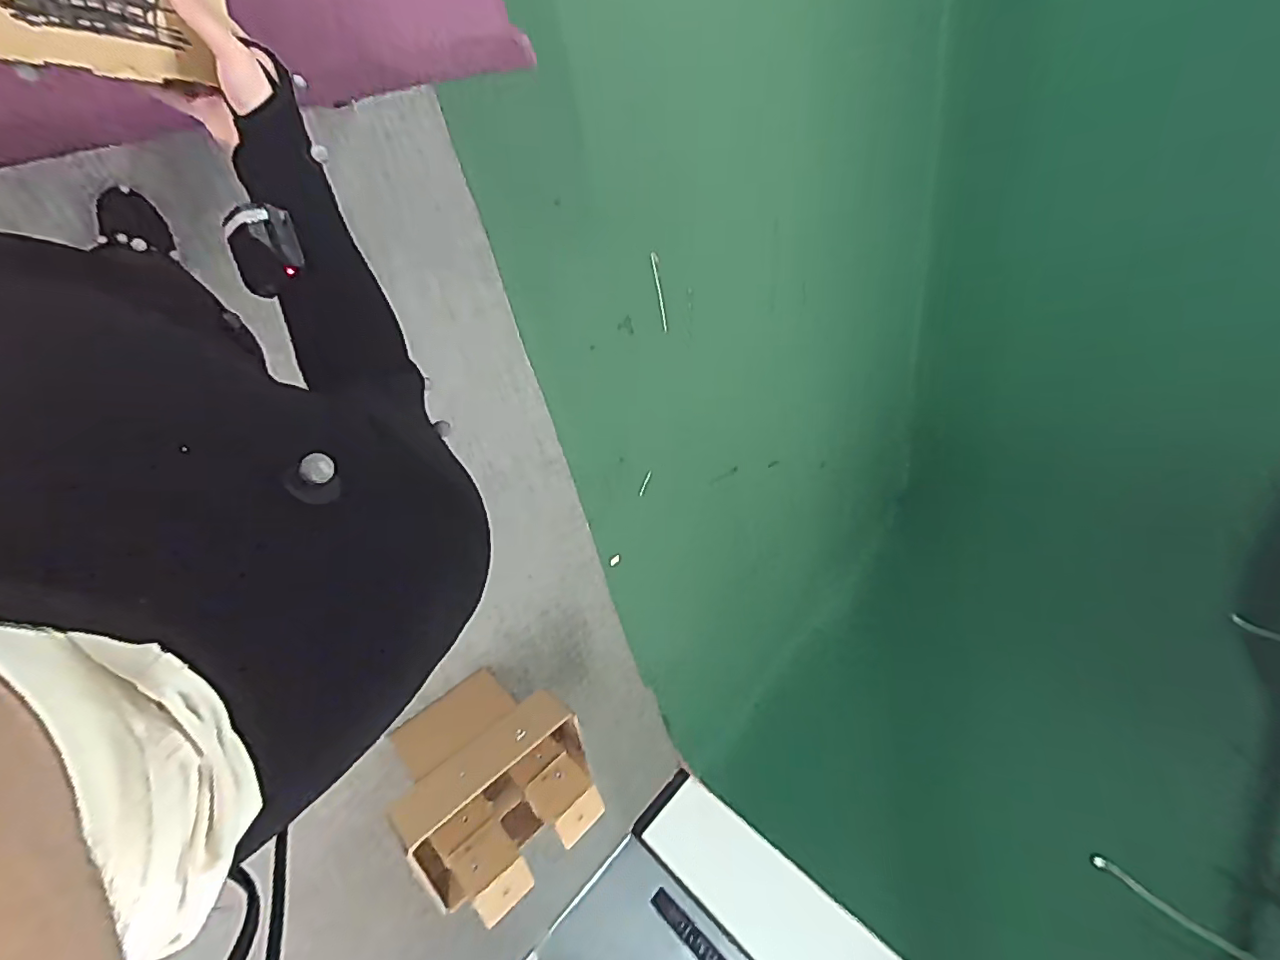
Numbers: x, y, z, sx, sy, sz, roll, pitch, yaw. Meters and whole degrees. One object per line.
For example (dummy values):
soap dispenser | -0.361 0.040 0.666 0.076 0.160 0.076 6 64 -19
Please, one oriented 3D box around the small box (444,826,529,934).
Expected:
small box | -0.464 1.191 1.627 0.168 0.176 0.179 -30 128 -33

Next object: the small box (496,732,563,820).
small box | -0.375 1.028 1.893 0.179 0.176 0.168 -33 128 -33

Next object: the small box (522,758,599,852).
small box | -0.263 1.064 1.782 0.168 0.176 0.179 -34 129 -31
